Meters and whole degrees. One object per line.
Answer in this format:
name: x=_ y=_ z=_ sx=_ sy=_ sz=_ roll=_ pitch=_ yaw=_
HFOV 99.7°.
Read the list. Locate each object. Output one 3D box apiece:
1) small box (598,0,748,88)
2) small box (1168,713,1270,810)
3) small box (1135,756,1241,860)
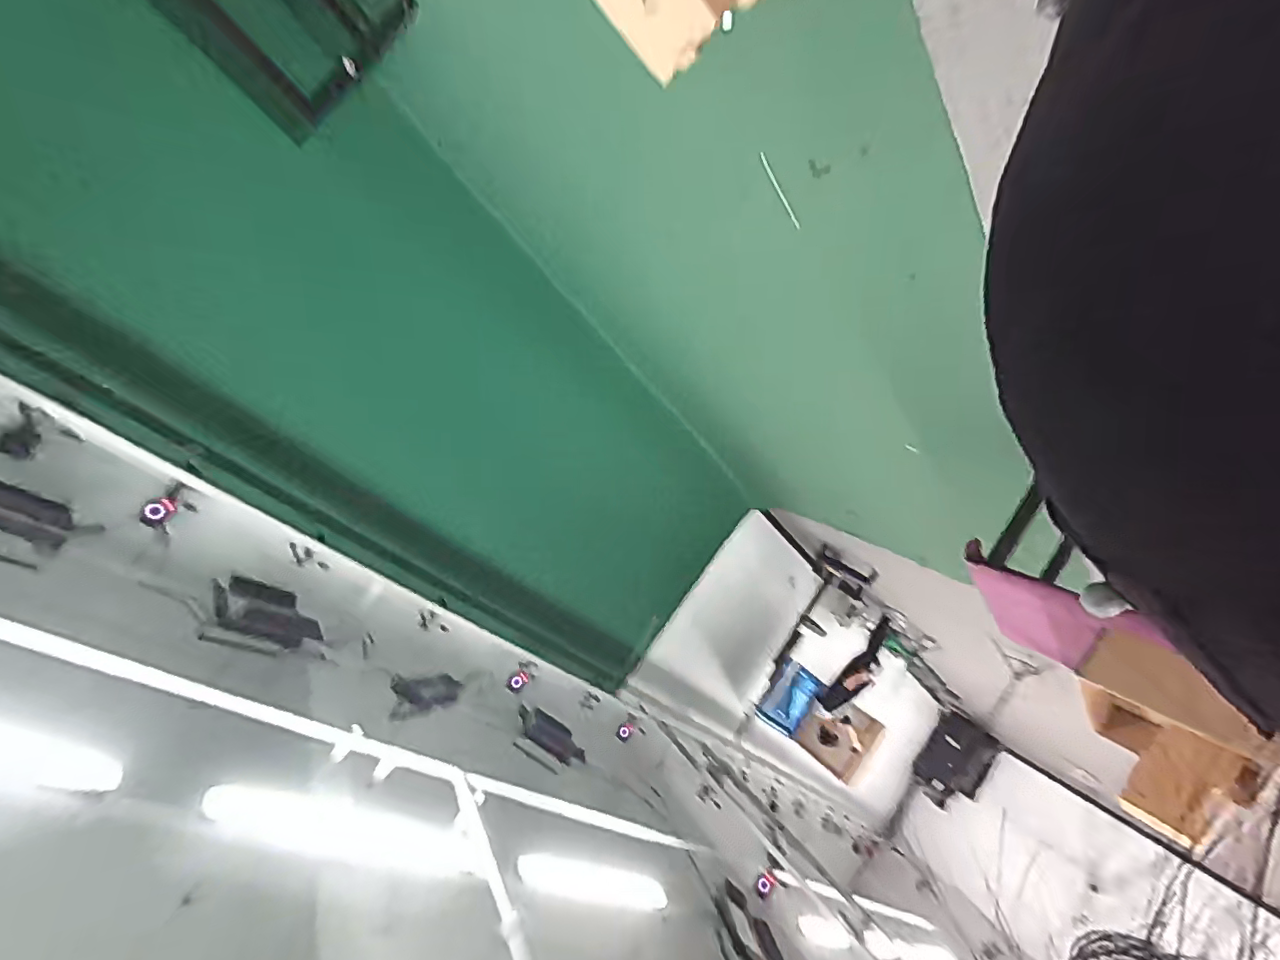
small box: x=0.067 y=-0.721 z=0.759 sx=0.179 sy=0.176 sz=0.168 roll=38 pitch=172 yaw=-24
small box: x=1.687 y=0.818 z=1.581 sx=0.179 sy=0.176 sz=0.168 roll=45 pitch=169 yaw=-35
small box: x=1.584 y=0.941 z=1.560 sx=0.168 sy=0.176 sz=0.179 roll=44 pitch=170 yaw=-33
